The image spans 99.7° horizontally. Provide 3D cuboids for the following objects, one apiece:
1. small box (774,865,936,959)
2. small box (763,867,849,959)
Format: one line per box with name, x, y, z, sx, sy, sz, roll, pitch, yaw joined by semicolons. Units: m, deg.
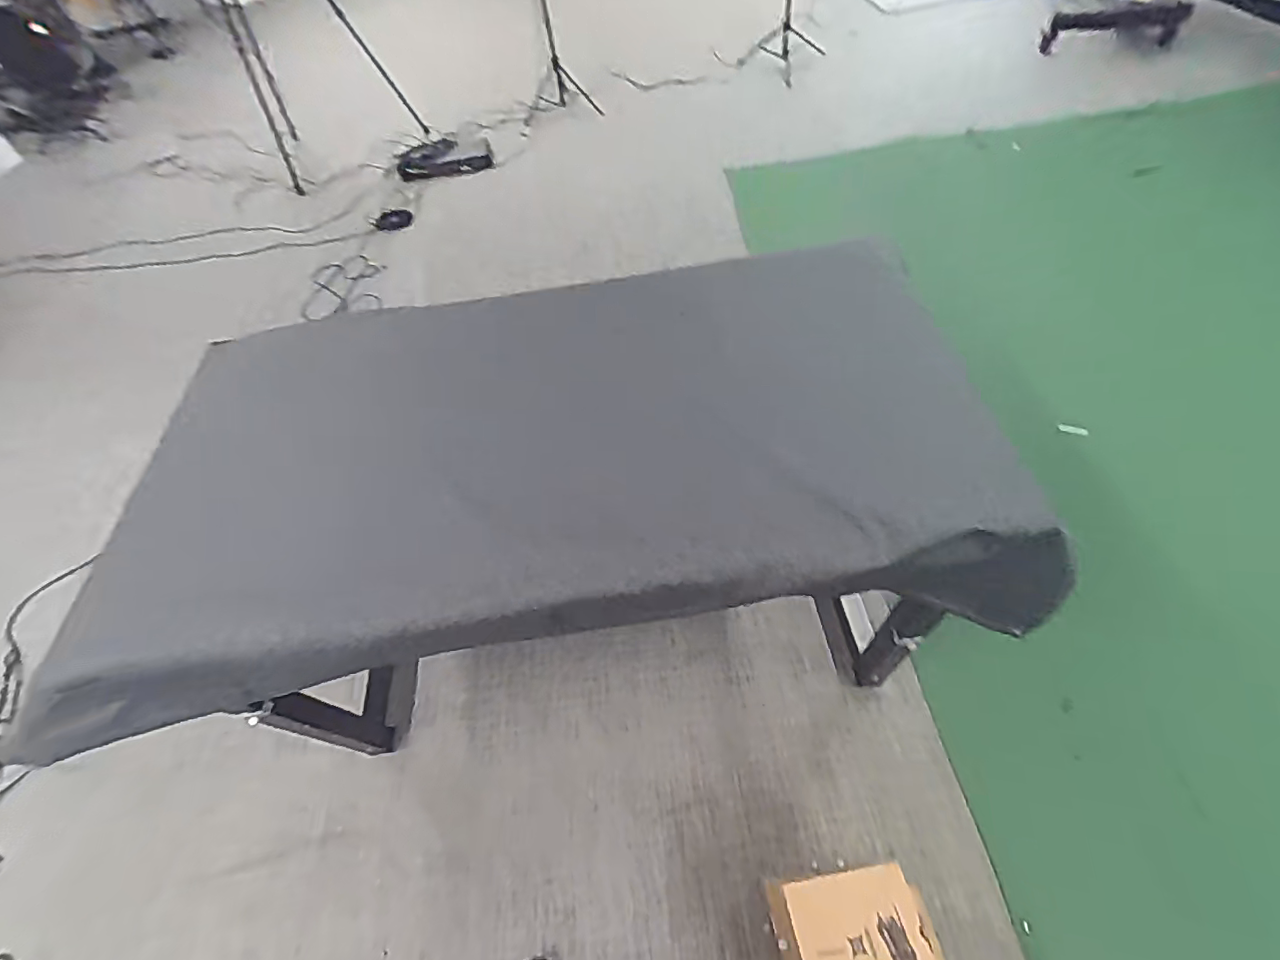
small box;0.309;0.675;0.788;0.179;0.176;0.168;-12;54;-1
small box;0.320;0.773;0.920;0.179;0.176;0.168;-12;53;0
